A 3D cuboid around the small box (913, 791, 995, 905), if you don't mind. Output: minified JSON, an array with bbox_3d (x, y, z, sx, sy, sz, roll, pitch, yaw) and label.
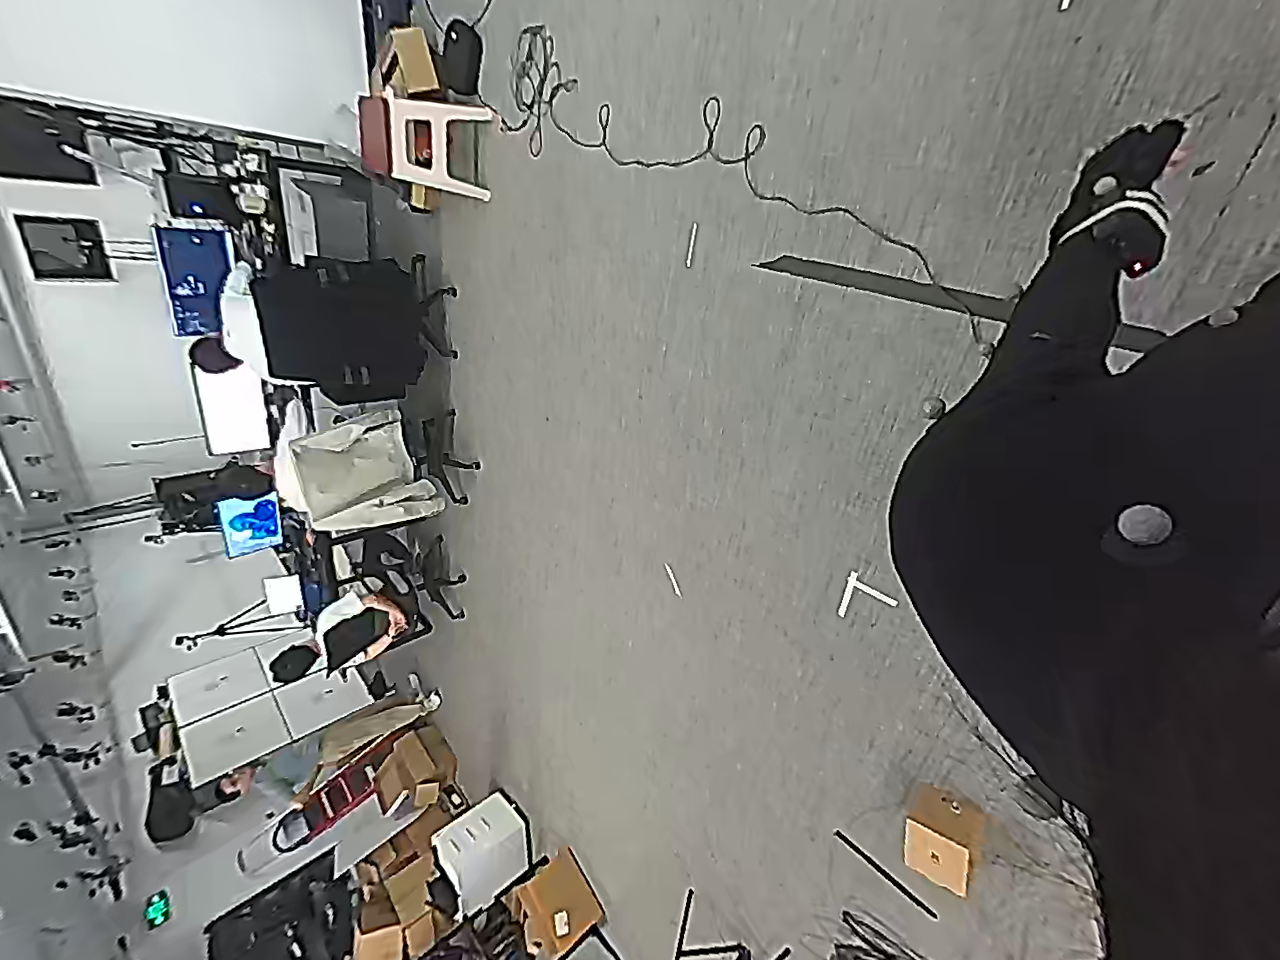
[{"bbox_3d":[0.914,1.060,1.572,0.168,0.176,0.179,8,108,45],"label":"small box"}]
